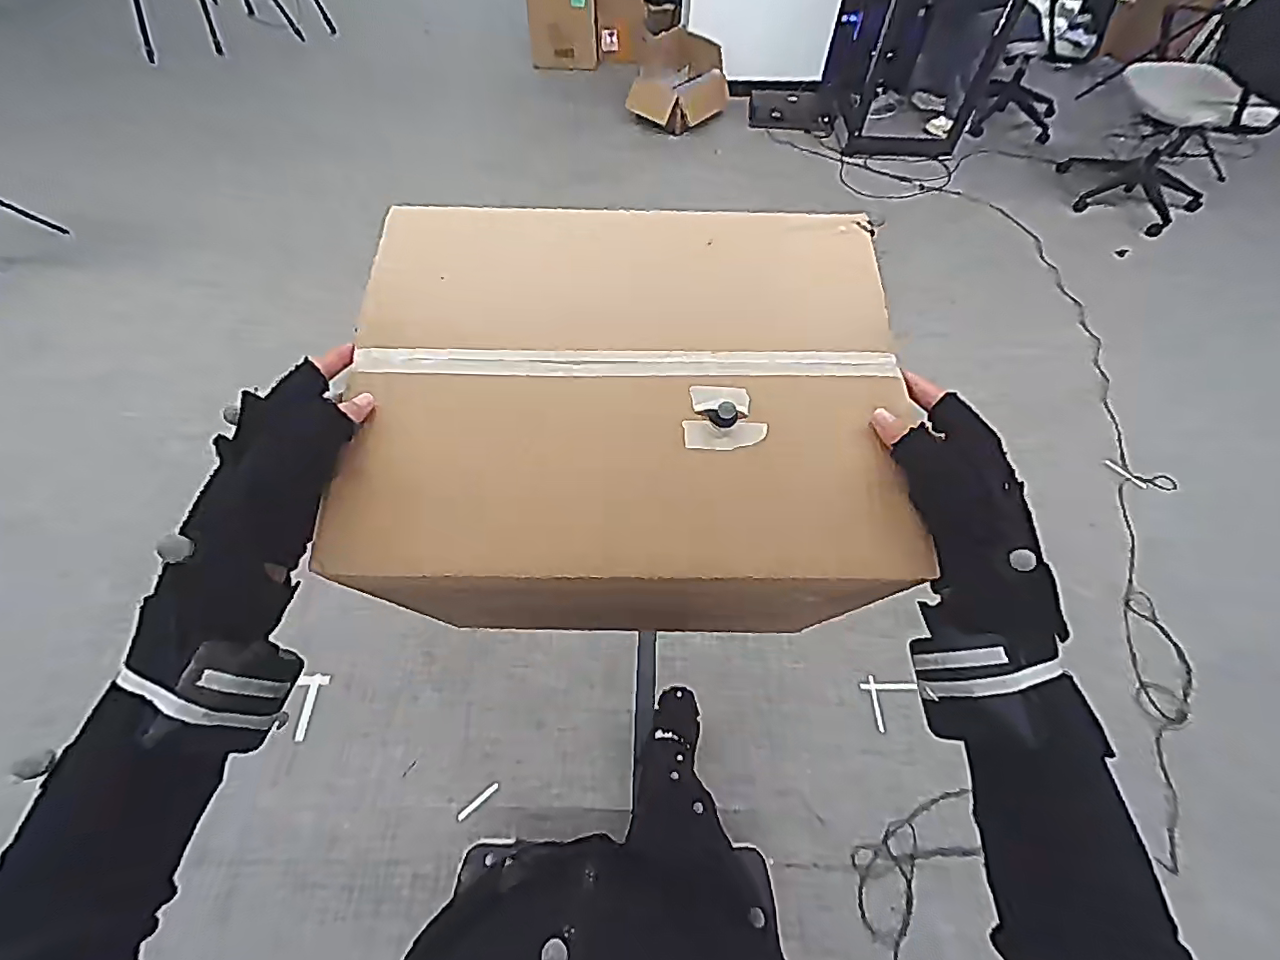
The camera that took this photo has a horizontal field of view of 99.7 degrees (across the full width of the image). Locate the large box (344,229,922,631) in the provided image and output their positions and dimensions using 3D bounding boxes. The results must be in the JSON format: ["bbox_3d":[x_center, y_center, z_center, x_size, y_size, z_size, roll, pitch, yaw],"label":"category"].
[{"bbox_3d":[-0.009,-0.022,0.559,0.408,0.320,0.320,1,69,-2],"label":"large box"}]
